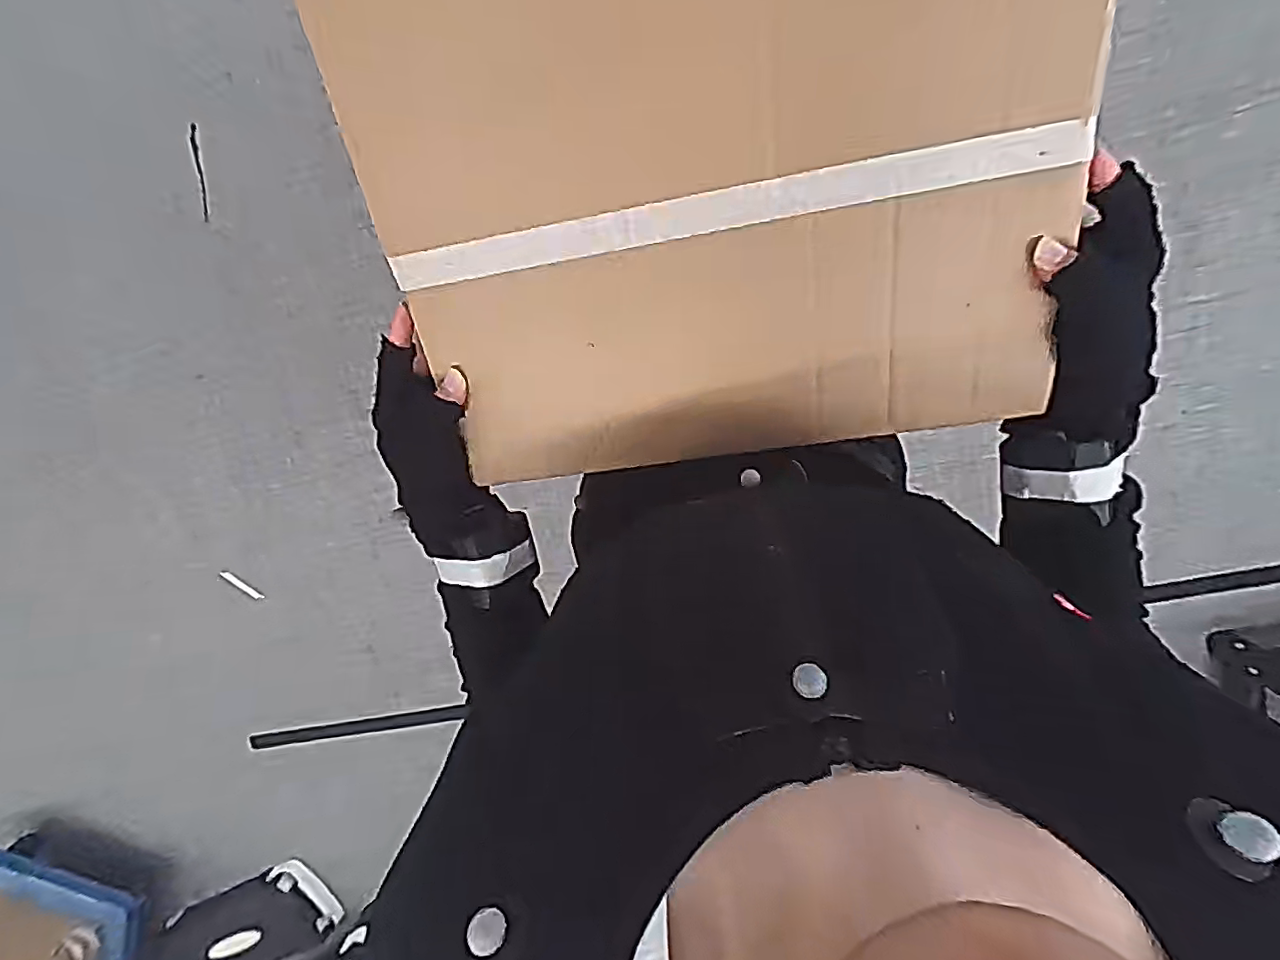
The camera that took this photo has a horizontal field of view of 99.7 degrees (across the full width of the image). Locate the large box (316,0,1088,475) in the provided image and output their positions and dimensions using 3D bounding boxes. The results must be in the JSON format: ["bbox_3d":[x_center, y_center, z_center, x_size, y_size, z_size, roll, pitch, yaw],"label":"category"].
[{"bbox_3d":[0.050,-0.231,0.461,0.408,0.320,0.320,-7,118,8],"label":"large box"}]
